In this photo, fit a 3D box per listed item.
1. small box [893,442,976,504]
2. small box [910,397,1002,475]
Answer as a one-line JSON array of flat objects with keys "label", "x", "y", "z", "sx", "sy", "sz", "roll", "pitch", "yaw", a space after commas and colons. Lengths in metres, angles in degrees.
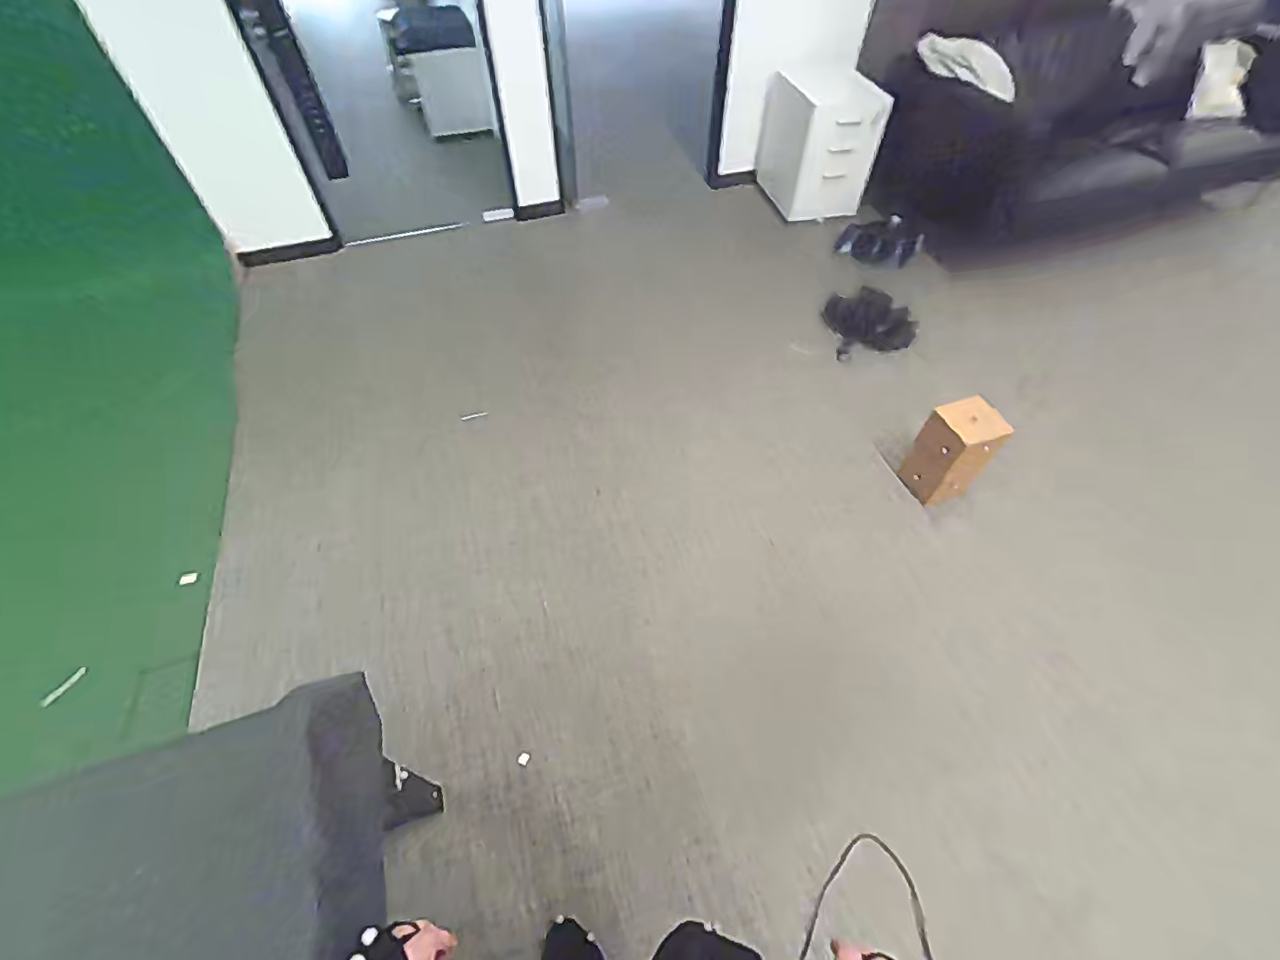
[{"label": "small box", "x": 1.018, "y": -0.041, "z": 1.894, "sx": 0.179, "sy": 0.176, "sz": 0.168, "roll": -18, "pitch": 55, "yaw": -13}, {"label": "small box", "x": 1.015, "y": -0.140, "z": 1.765, "sx": 0.179, "sy": 0.176, "sz": 0.168, "roll": -16, "pitch": 56, "yaw": -14}]
